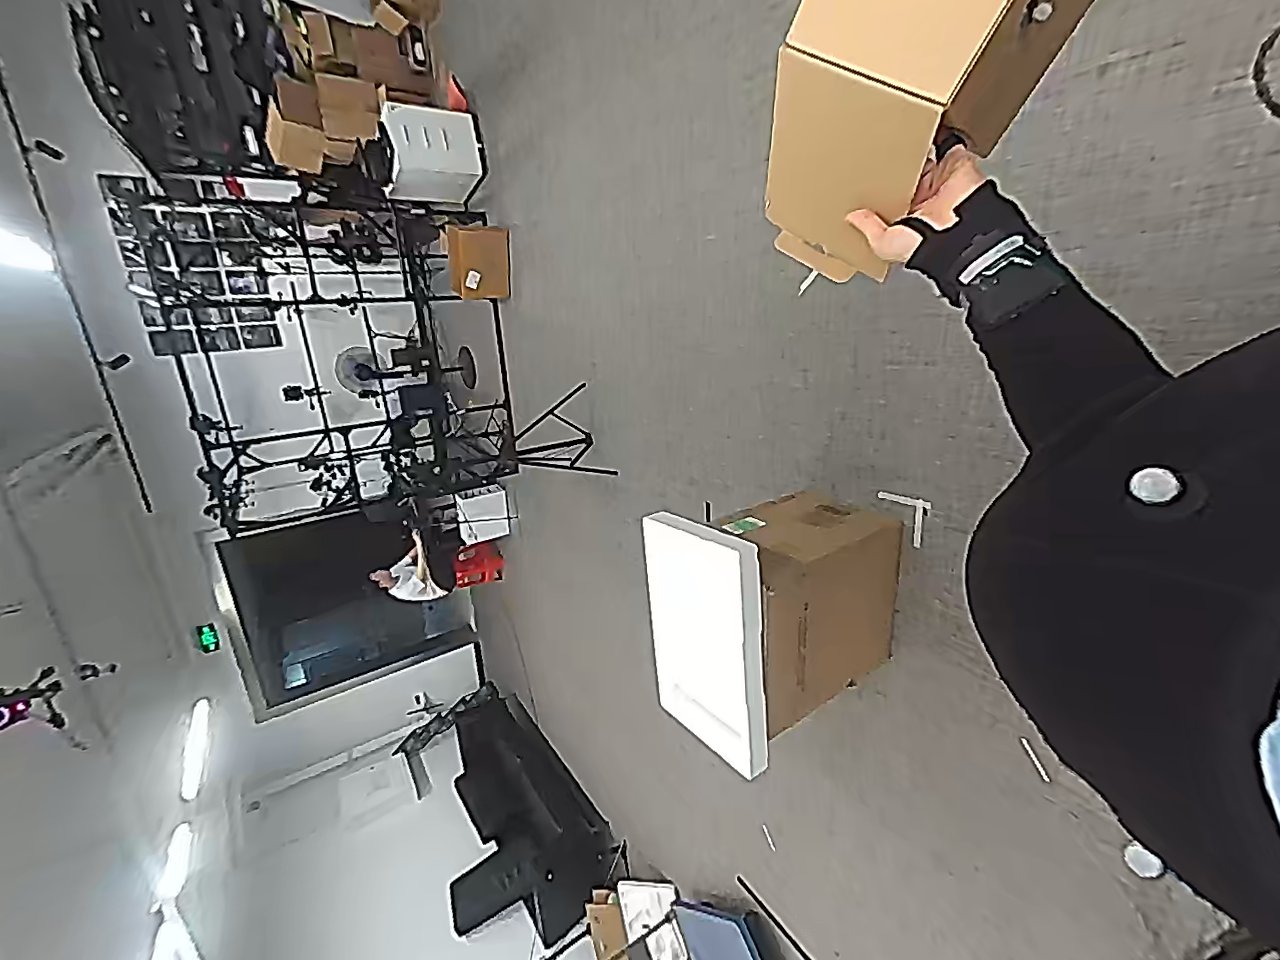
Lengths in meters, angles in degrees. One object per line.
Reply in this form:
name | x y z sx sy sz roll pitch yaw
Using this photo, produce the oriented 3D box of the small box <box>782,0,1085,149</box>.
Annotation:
small box | 0.263 -0.419 0.463 0.168 0.176 0.179 45 127 24
